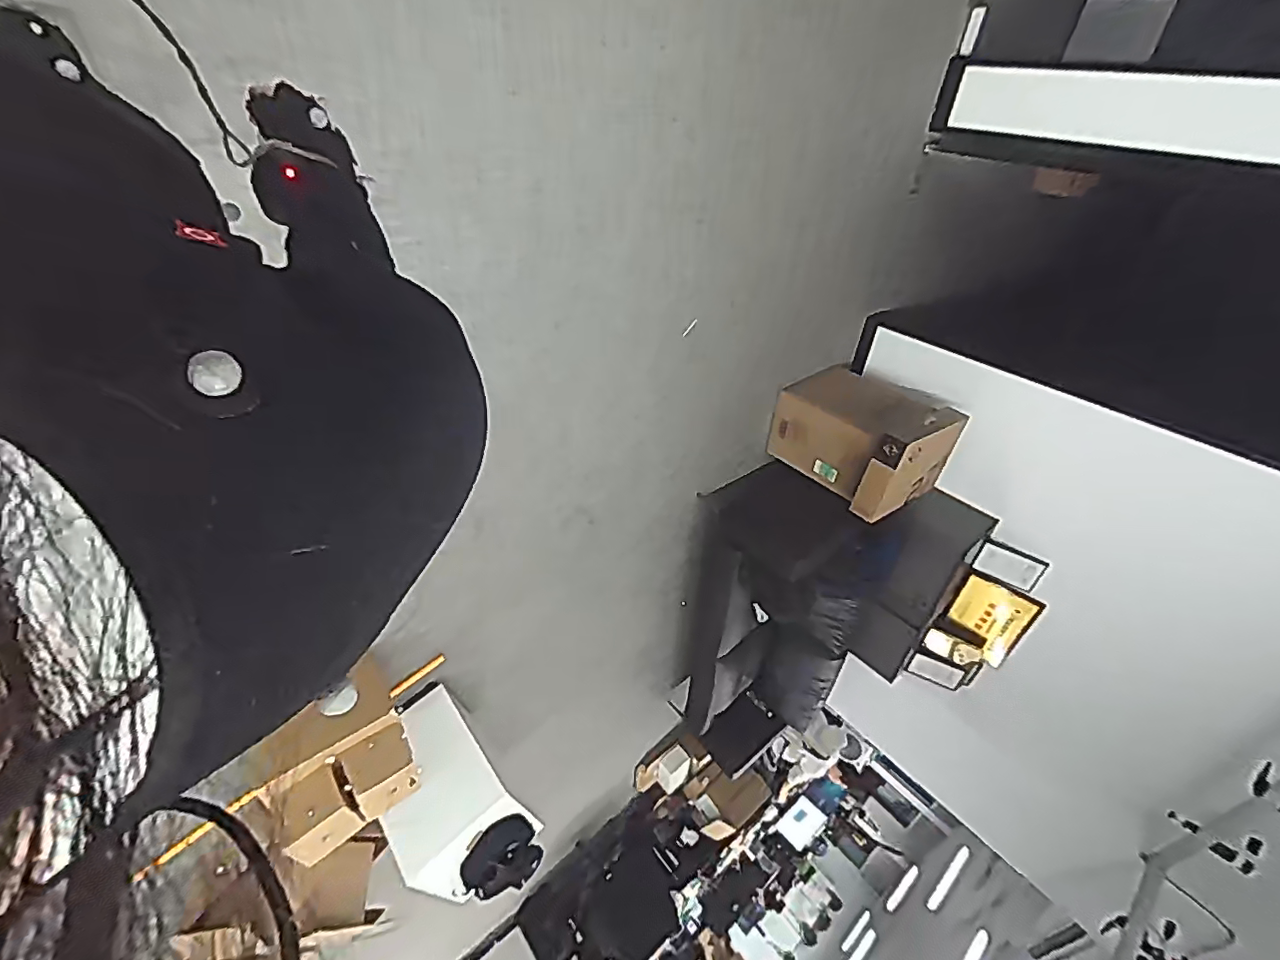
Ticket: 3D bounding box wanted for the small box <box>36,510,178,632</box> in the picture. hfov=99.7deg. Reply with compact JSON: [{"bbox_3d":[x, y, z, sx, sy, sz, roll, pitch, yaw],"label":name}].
[{"bbox_3d":[-1.189,0.197,1.213,0.179,0.176,0.168,-27,136,-33],"label":"small box"}]
